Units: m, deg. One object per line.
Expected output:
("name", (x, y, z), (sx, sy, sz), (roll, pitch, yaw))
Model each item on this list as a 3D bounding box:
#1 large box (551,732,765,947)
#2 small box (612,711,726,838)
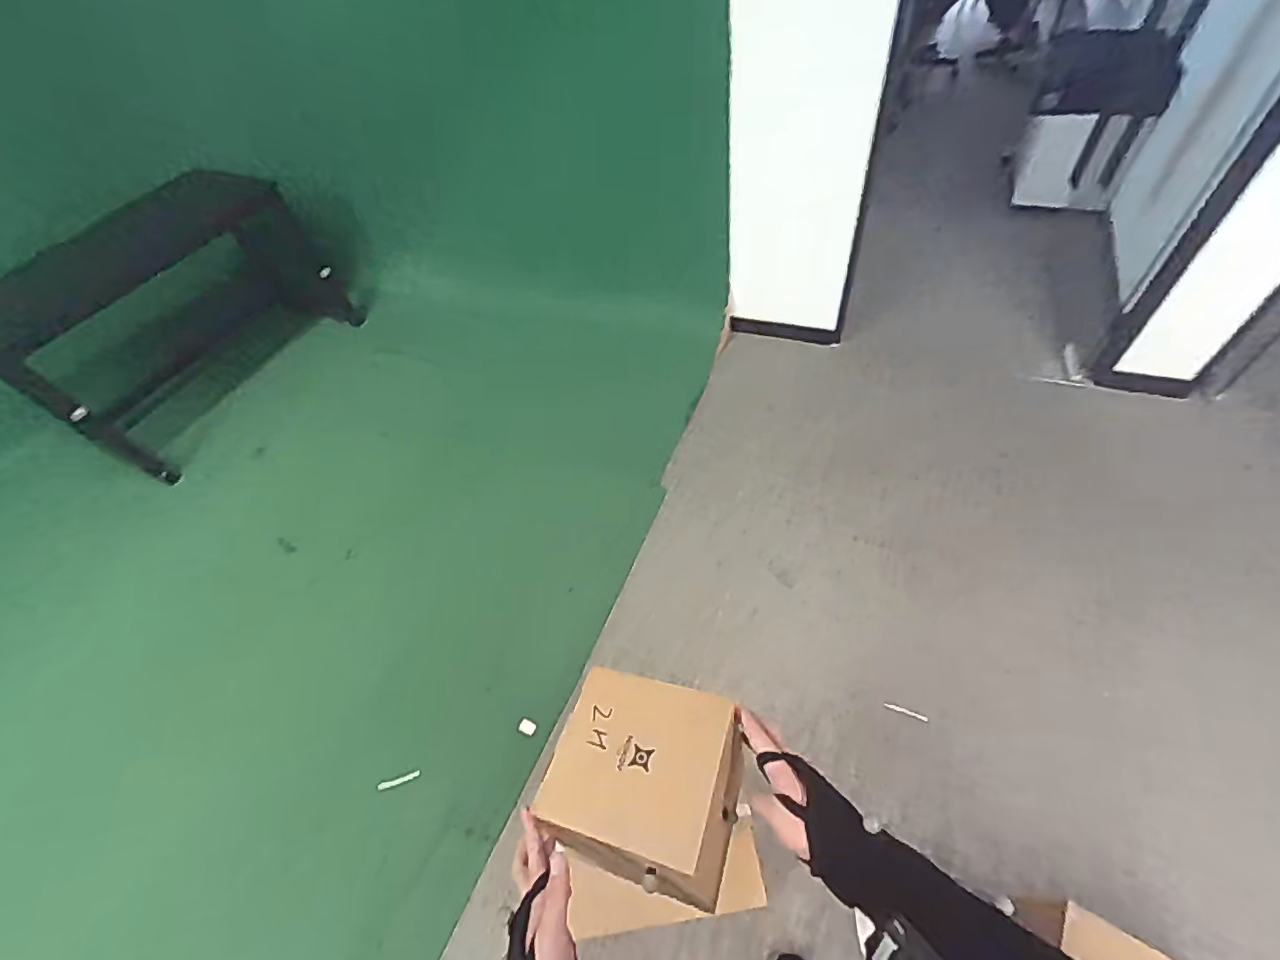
("large box", (0.040, 0.807, 1.226), (0.408, 0.320, 0.320), (-12, 51, 1))
("small box", (0.052, 0.511, 0.931), (0.179, 0.176, 0.168), (-6, 52, 4))
